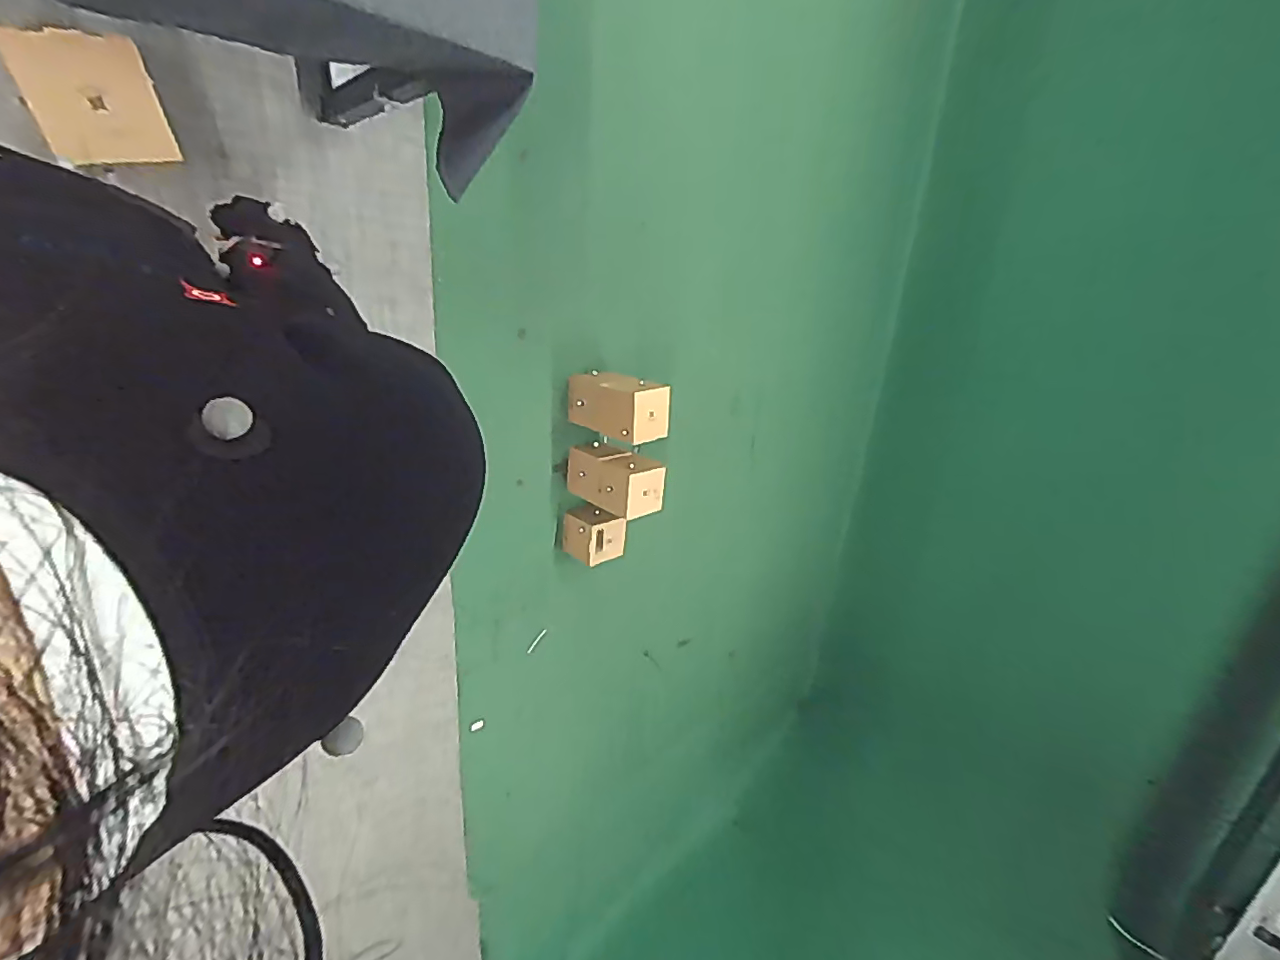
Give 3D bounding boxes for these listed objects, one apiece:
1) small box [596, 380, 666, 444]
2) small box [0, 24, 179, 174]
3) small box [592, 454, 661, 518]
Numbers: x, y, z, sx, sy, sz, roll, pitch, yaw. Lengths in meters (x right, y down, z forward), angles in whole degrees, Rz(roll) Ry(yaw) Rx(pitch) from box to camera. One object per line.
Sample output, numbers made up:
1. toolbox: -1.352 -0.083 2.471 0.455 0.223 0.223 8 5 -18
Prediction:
1. small box: -0.034 -0.234 1.805 0.168 0.176 0.179 -19 121 -42
2. small box: -0.925 -0.626 0.906 0.168 0.176 0.179 -29 126 -36
3. small box: -0.051 0.016 1.897 0.179 0.176 0.168 -14 118 -44
